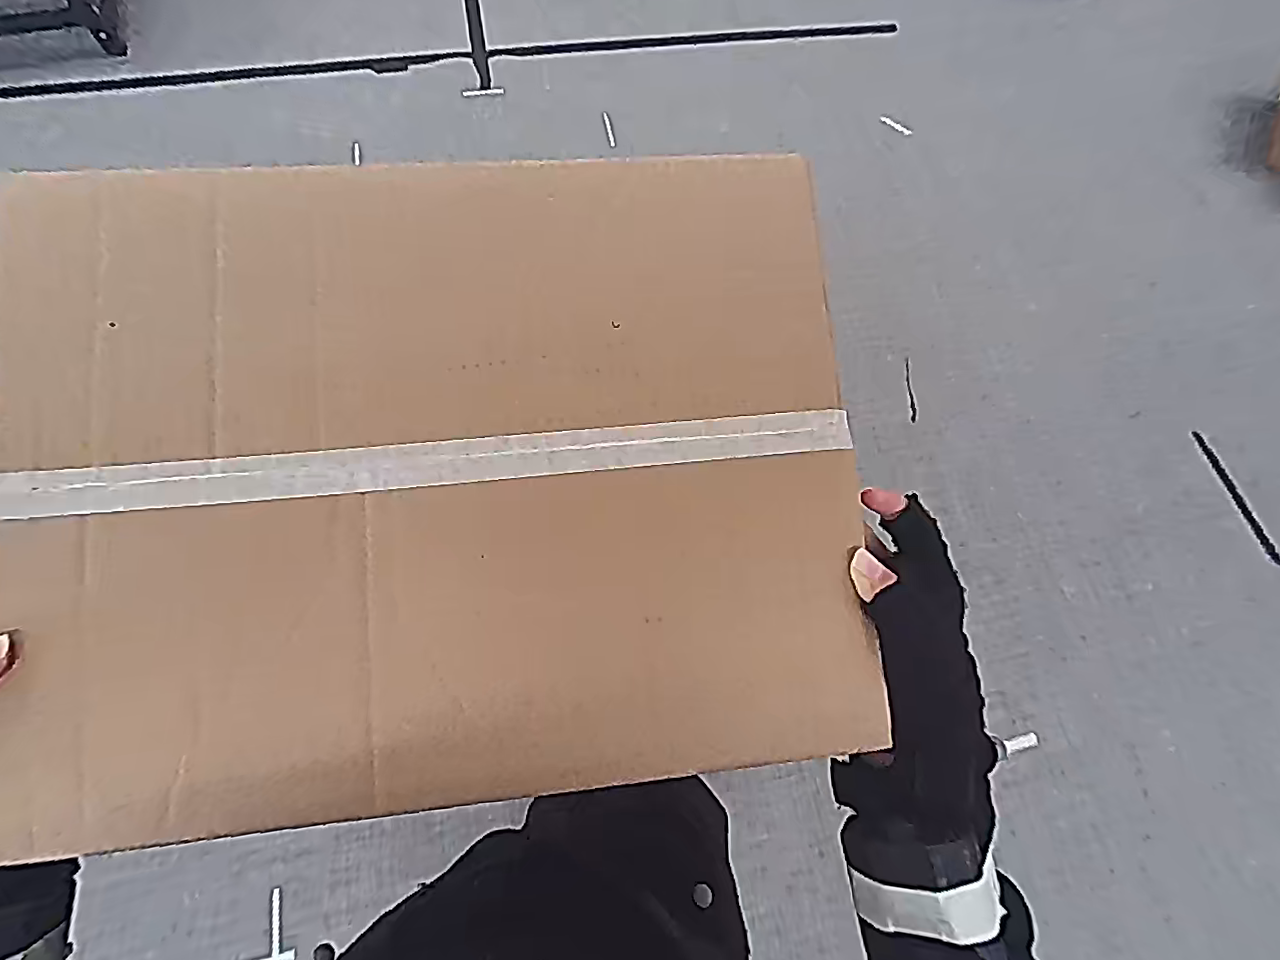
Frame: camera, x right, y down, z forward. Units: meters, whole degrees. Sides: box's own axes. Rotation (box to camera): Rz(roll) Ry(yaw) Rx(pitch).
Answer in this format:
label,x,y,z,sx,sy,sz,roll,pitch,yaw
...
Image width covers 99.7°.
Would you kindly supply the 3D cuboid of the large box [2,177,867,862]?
label,x,y,z,sx,sy,sz,roll,pitch,yaw
large box,-0.106,0.016,0.419,0.408,0.320,0.320,-5,82,-5
